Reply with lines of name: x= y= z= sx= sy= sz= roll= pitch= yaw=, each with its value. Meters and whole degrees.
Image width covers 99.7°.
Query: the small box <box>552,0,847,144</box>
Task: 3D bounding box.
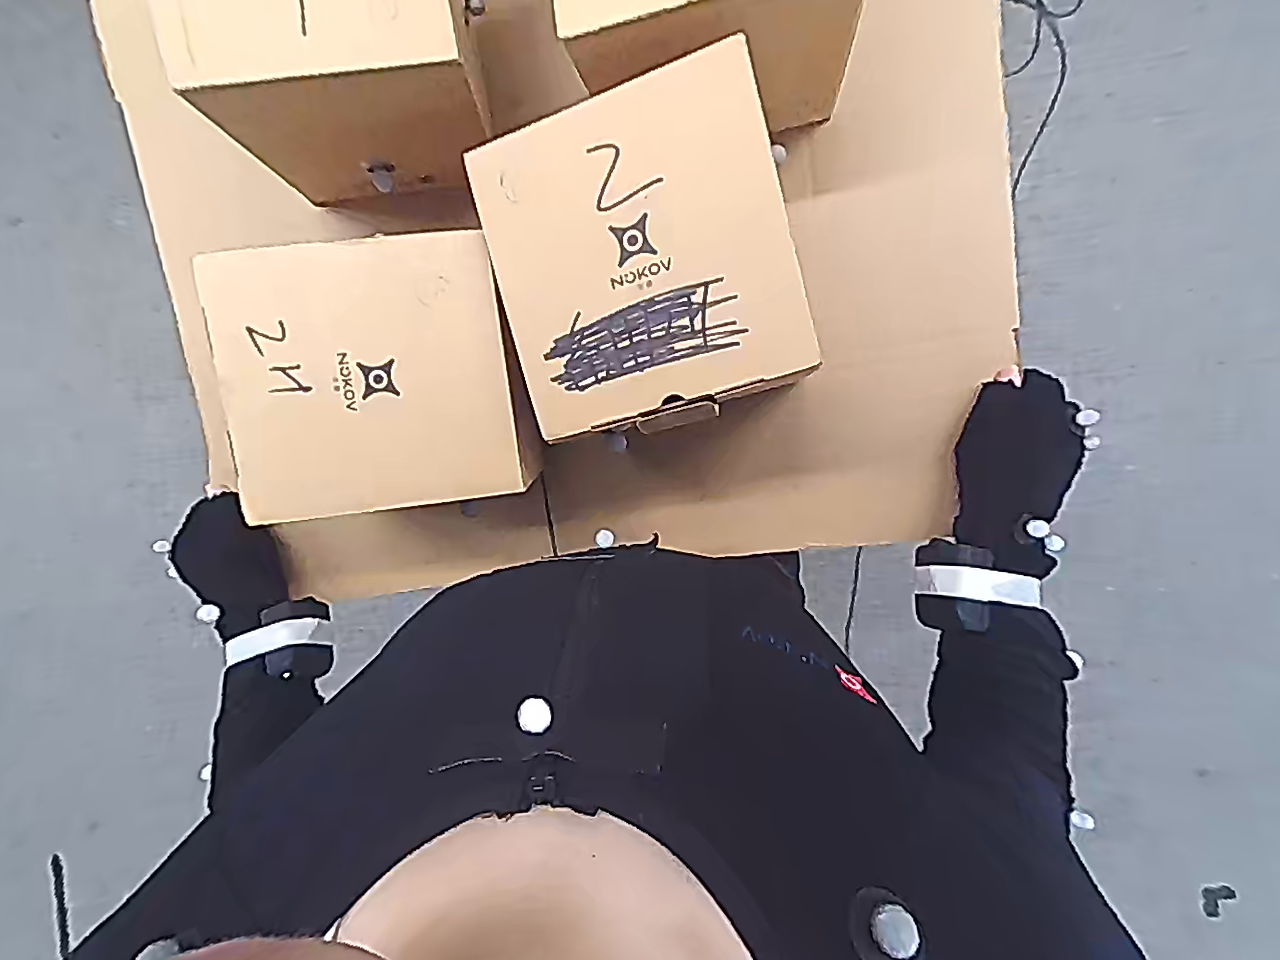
small box: x=0.040 y=-0.348 z=0.347 sx=0.168 sy=0.176 sz=0.179 roll=-5 pitch=96 yaw=13
